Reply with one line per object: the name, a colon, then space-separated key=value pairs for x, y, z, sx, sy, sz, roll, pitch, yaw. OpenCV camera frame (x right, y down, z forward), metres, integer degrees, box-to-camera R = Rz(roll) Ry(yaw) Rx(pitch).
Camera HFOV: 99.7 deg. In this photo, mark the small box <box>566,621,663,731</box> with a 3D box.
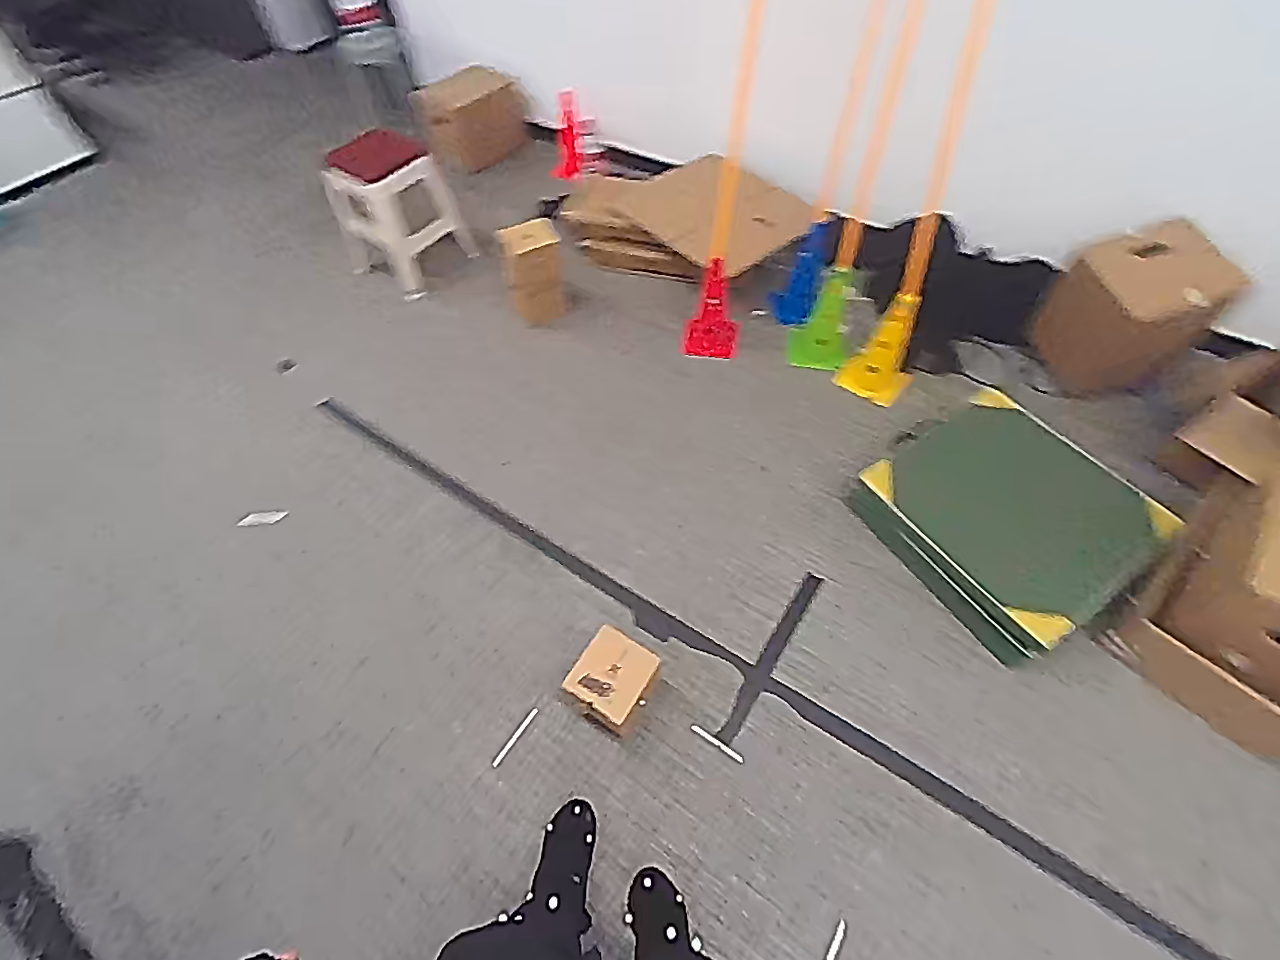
small box: x=-0.054 y=0.484 z=1.321 sx=0.168 sy=0.176 sz=0.179 roll=28 pitch=61 yaw=20
